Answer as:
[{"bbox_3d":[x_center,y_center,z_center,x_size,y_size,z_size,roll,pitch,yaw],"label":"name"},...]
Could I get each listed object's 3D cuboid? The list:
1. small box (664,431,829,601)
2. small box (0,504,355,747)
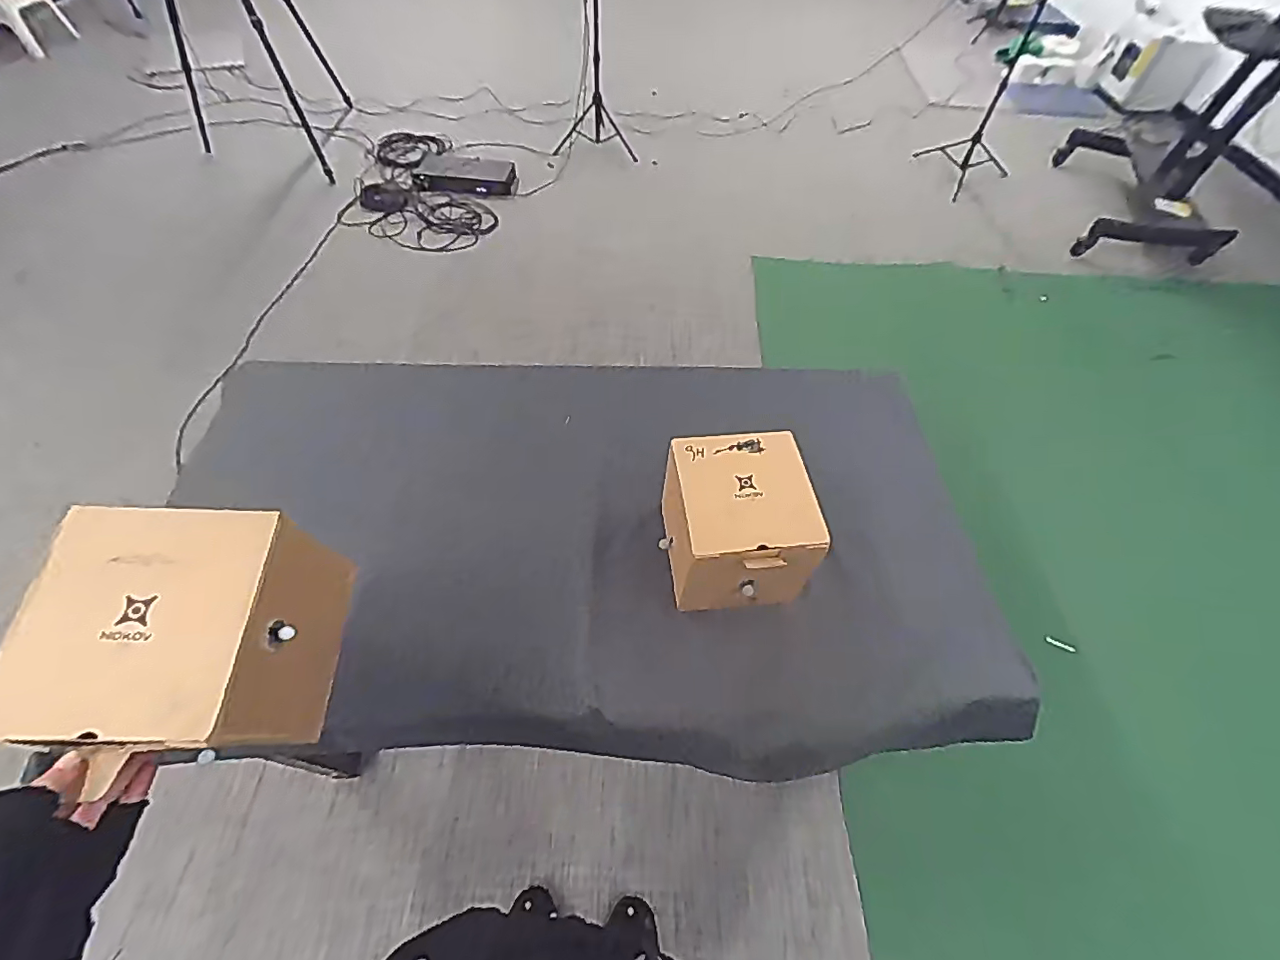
[{"bbox_3d":[0.128,0.055,0.730,0.168,0.176,0.179,-3,56,-6],"label":"small box"},{"bbox_3d":[-0.379,0.135,0.475,0.168,0.176,0.179,2,64,-4],"label":"small box"}]
